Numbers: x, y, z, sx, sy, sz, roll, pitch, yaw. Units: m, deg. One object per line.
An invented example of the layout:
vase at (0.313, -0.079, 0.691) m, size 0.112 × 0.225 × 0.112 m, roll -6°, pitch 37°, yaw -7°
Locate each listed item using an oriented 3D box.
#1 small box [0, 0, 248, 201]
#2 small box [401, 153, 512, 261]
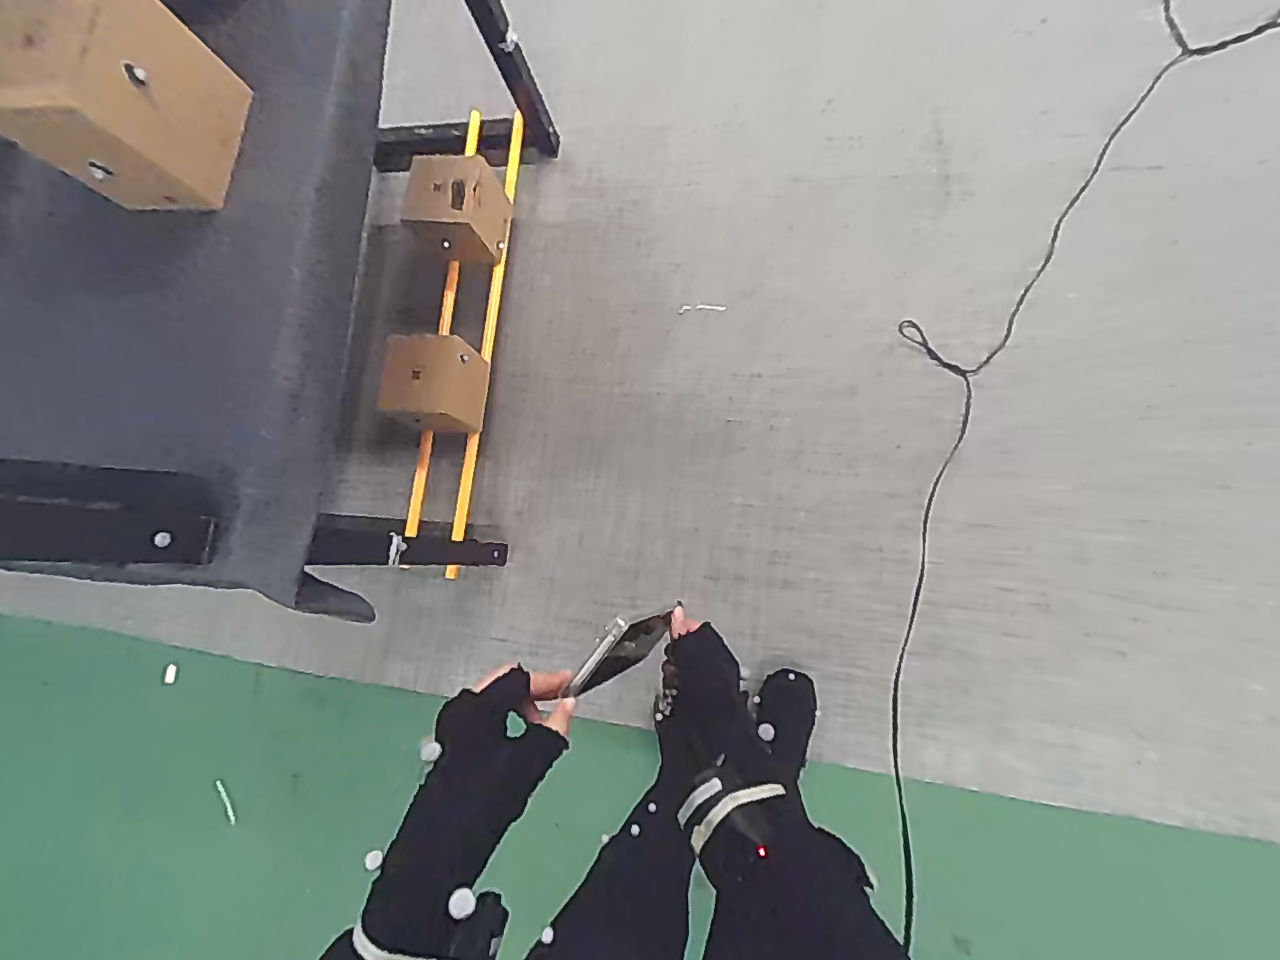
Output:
small box at (-0.616, -0.459, 0.643) m, size 0.168 × 0.176 × 0.179 m, roll 7°, pitch 82°, yaw 12°
small box at (-0.424, -0.639, 1.279) m, size 0.179 × 0.176 × 0.168 m, roll 7°, pitch 82°, yaw 12°
